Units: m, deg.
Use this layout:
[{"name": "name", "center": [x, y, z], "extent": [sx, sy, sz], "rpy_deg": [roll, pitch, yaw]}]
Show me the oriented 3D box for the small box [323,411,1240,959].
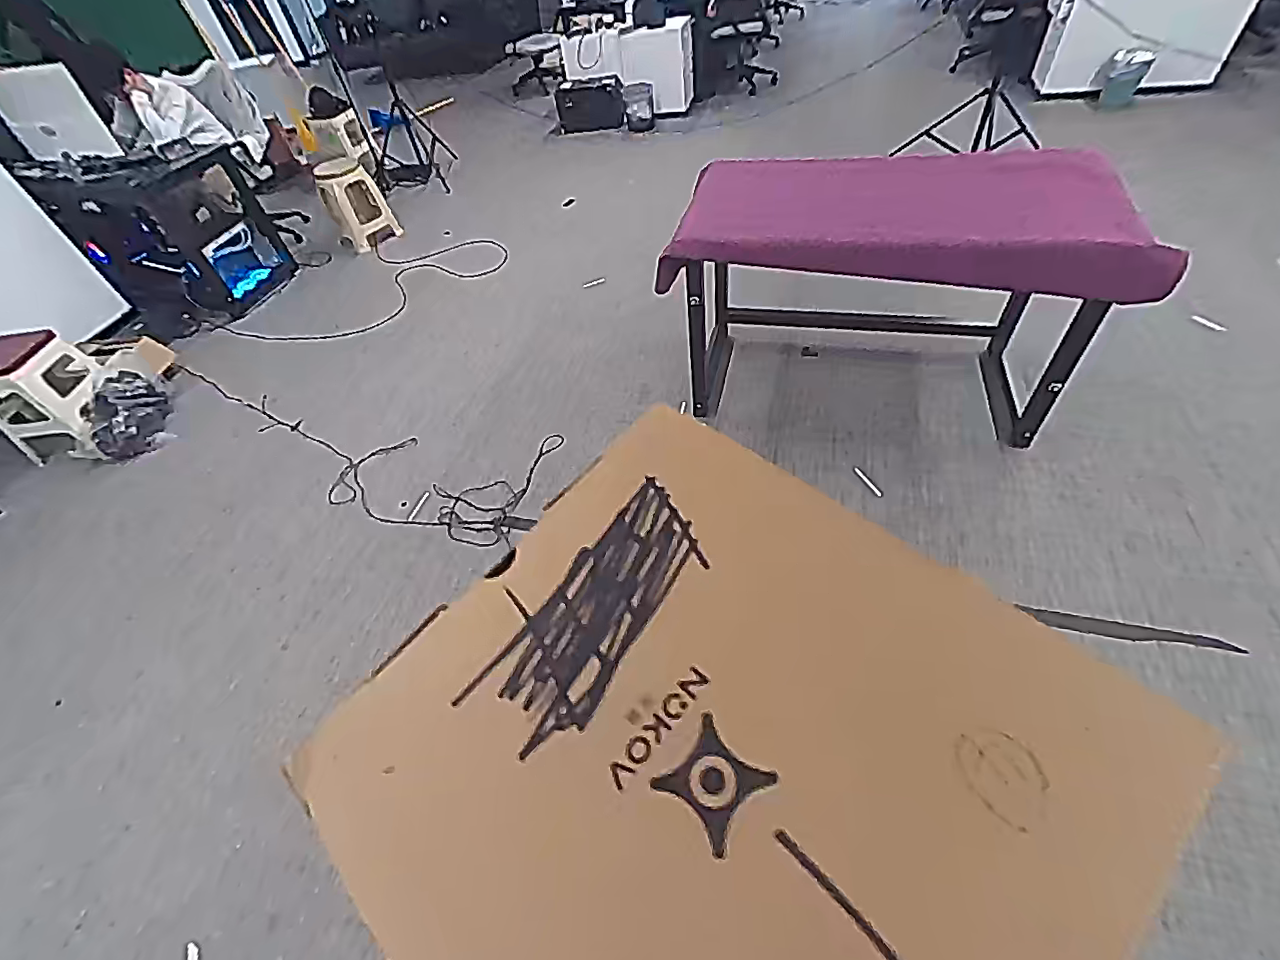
[{"name": "small box", "center": [0.035, 0.113, 0.206], "extent": [0.179, 0.176, 0.168], "rpy_deg": [35, 71, 29]}]
